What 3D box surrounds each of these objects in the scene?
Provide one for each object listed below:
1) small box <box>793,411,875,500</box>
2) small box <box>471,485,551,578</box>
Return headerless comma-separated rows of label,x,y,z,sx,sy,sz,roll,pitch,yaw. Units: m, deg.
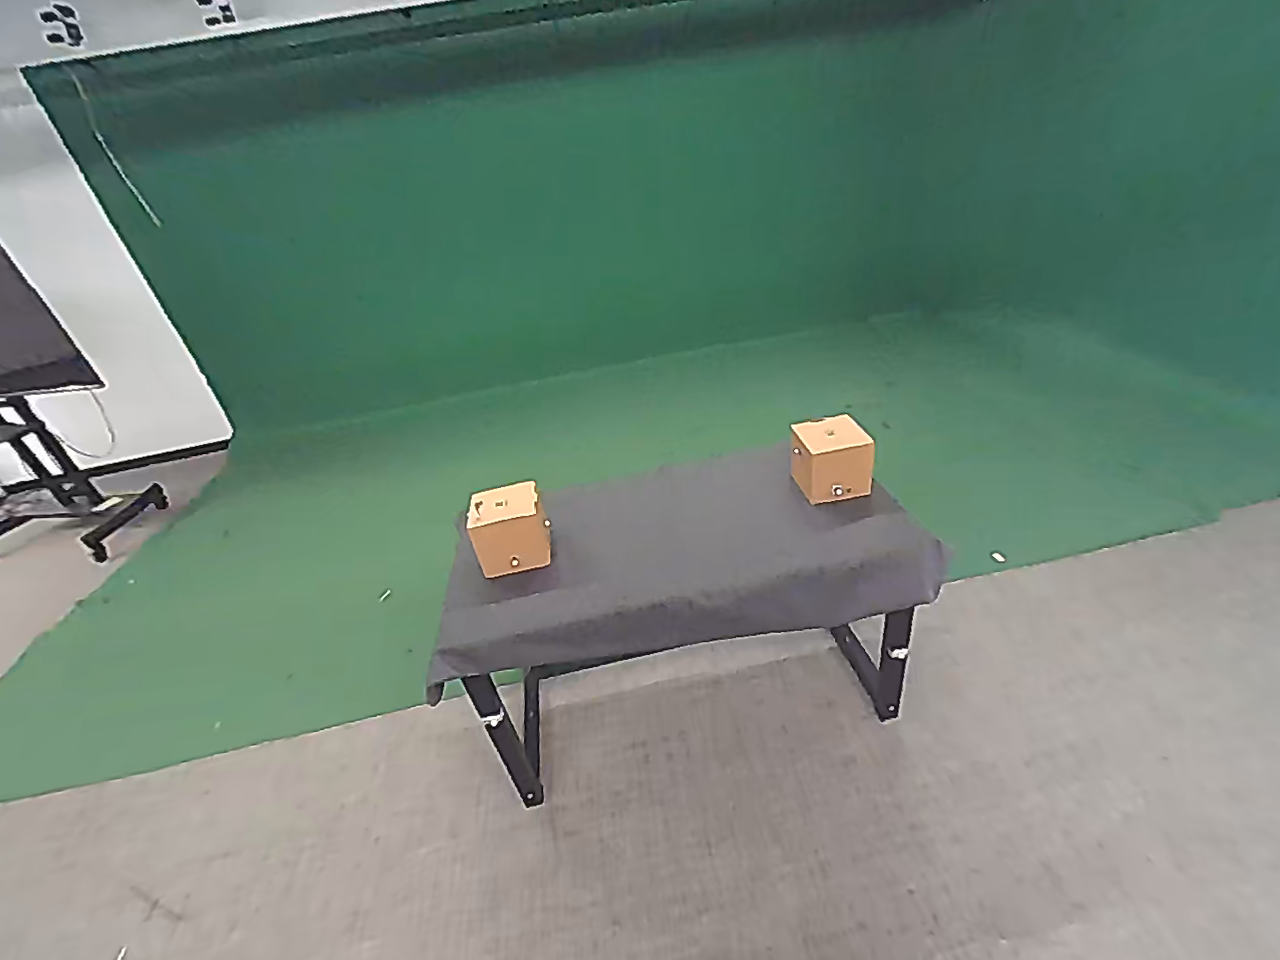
small box,0.528,-0.067,1.491,0.168,0.176,0.179,-11,32,3
small box,-0.336,0.138,1.447,0.179,0.176,0.168,-11,31,-4
